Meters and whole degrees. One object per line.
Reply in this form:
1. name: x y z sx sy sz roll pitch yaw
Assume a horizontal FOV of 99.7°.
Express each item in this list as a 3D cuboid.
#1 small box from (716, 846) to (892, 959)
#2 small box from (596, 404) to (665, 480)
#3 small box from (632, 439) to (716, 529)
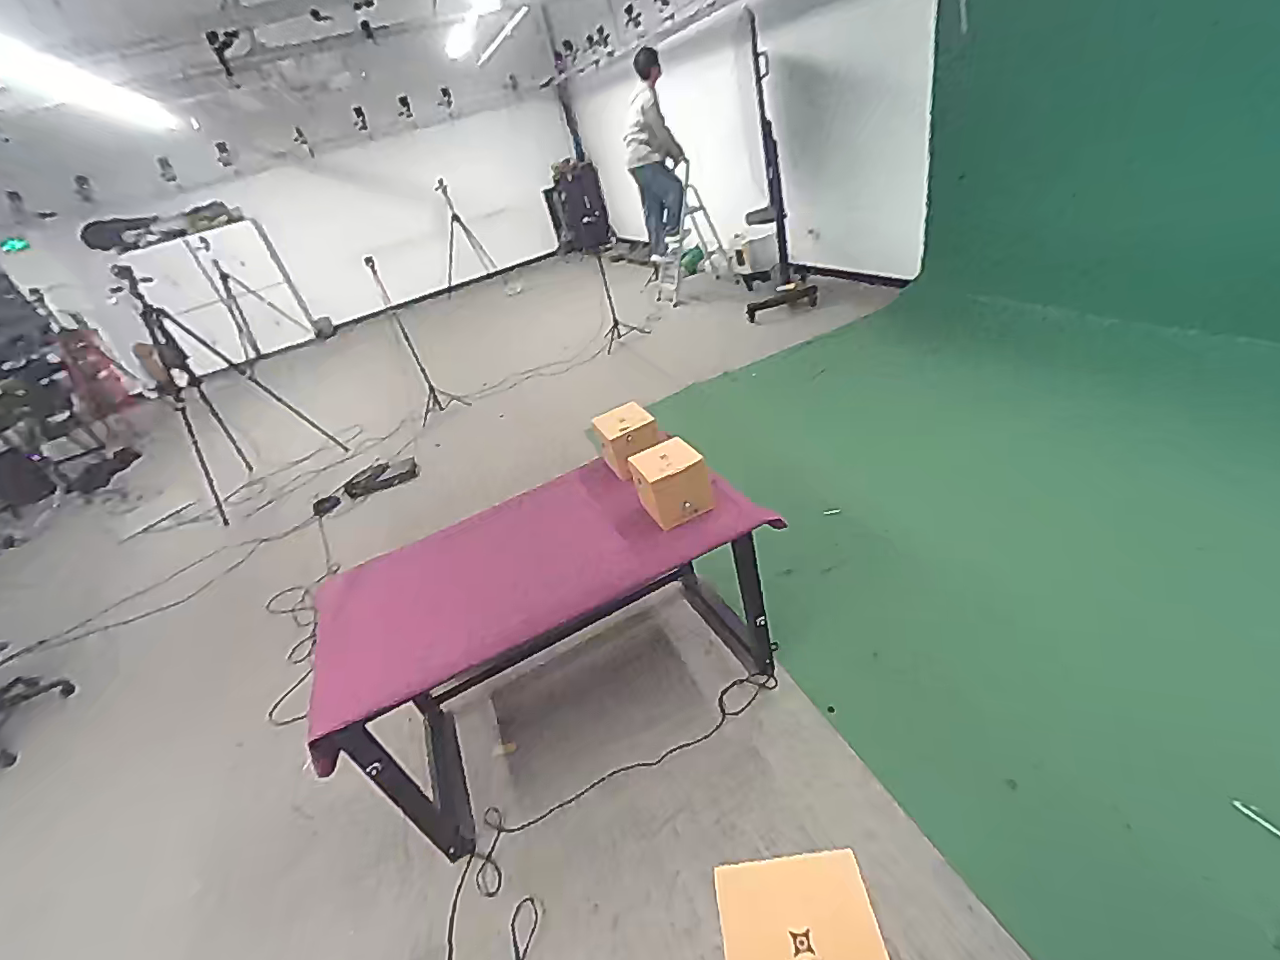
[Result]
1. small box: 0.184 0.550 0.597 0.168 0.176 0.179 -11 29 4
2. small box: -0.027 -0.125 1.804 0.168 0.176 0.179 -26 35 -12
3. small box: 0.098 0.012 1.541 0.168 0.176 0.179 -24 32 -11
